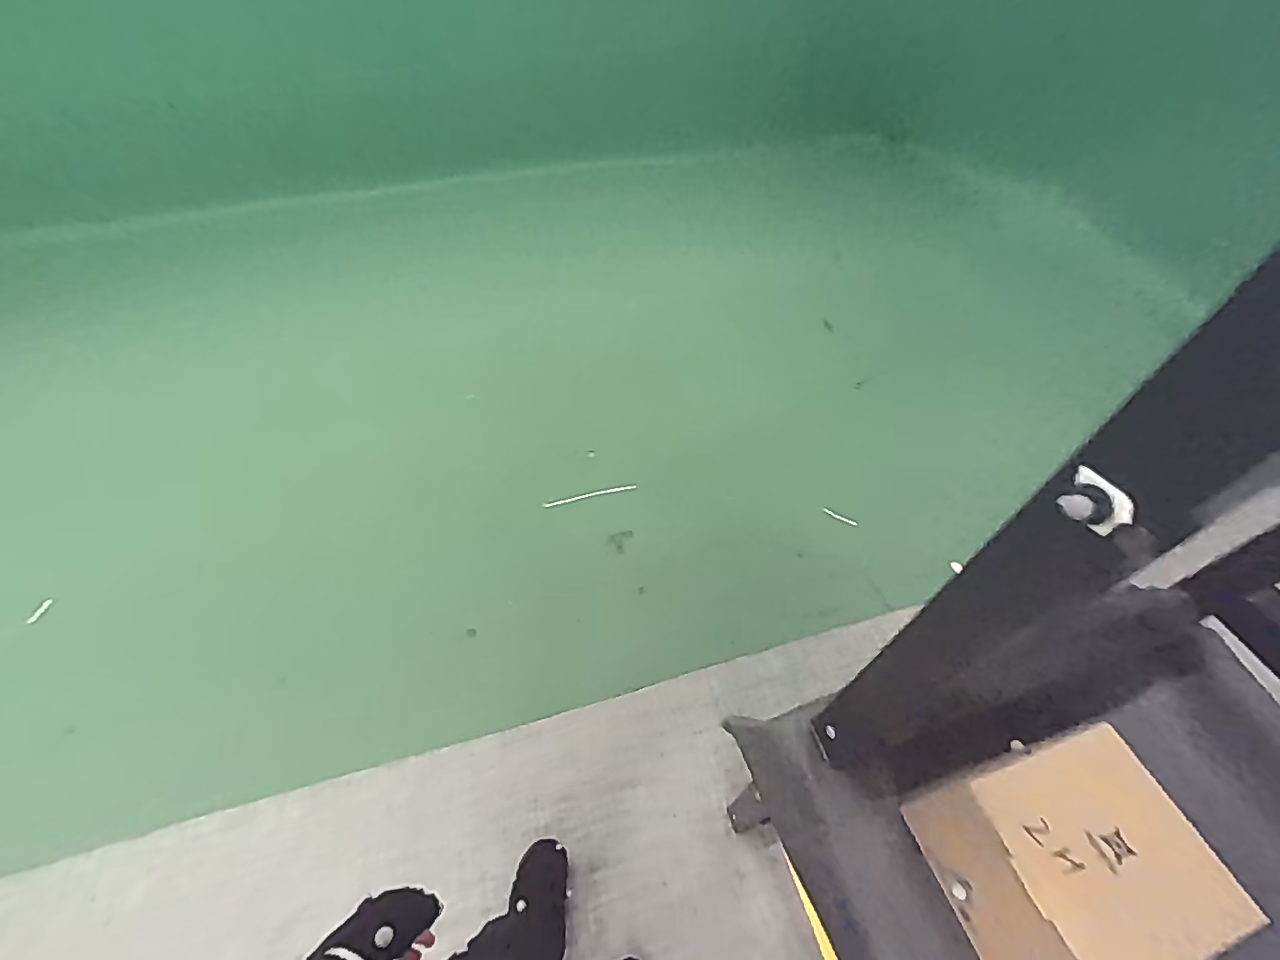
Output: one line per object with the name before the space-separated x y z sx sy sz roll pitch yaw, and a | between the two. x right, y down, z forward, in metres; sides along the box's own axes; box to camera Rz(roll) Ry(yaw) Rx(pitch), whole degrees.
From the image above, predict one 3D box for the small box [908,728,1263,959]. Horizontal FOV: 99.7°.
small box | 0.414 0.377 0.542 0.179 0.176 0.168 -14 53 -12
